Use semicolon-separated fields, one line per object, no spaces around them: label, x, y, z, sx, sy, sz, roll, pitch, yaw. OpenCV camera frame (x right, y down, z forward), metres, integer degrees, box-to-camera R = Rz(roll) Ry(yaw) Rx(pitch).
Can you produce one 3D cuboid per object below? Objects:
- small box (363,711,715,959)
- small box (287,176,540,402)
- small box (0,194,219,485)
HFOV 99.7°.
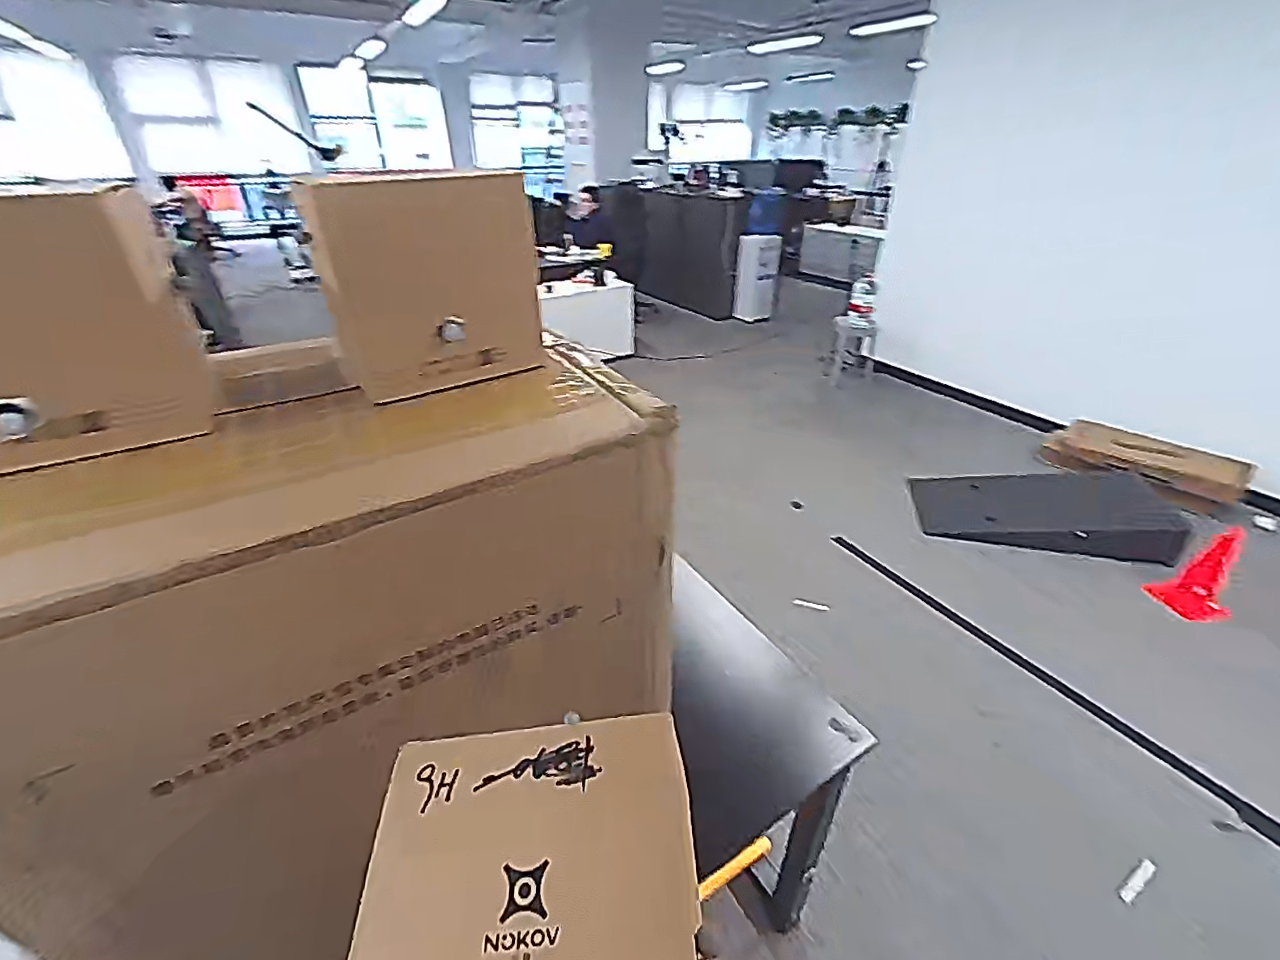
small box;-0.043;0.266;0.326;0.168;0.176;0.179;-8;45;2
small box;-0.211;-0.190;0.518;0.168;0.176;0.179;-21;37;-27
small box;-0.446;-0.112;0.403;0.168;0.176;0.179;-21;37;-28
